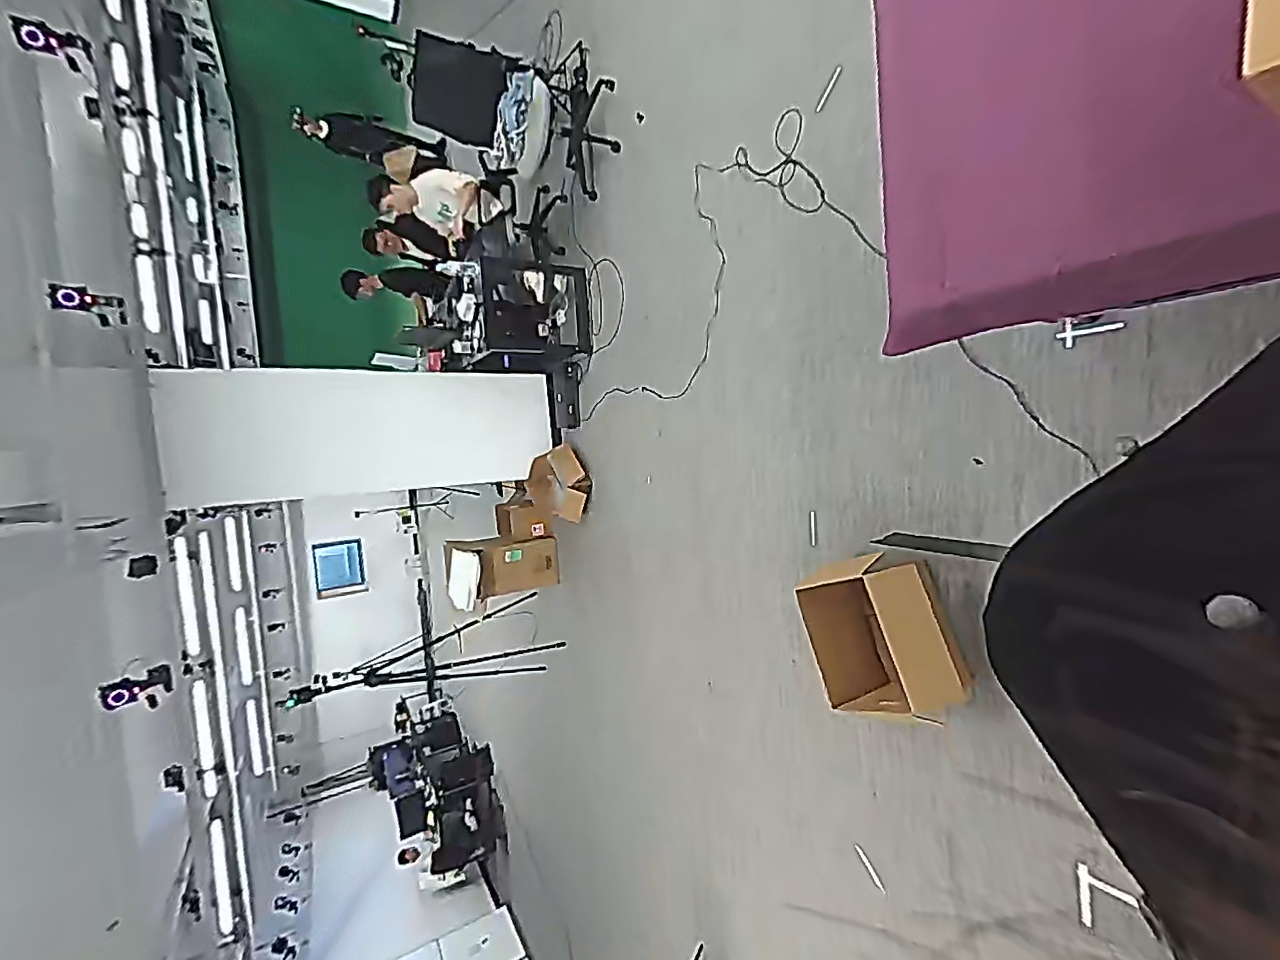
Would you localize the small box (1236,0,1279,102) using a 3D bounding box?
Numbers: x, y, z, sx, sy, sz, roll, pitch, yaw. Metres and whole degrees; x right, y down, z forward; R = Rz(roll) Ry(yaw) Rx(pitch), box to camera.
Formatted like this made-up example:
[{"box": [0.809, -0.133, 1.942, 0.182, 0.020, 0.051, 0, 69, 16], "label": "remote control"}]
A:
[{"box": [0.674, -0.467, 0.474, 0.168, 0.176, 0.179, 9, 103, 58], "label": "small box"}]
